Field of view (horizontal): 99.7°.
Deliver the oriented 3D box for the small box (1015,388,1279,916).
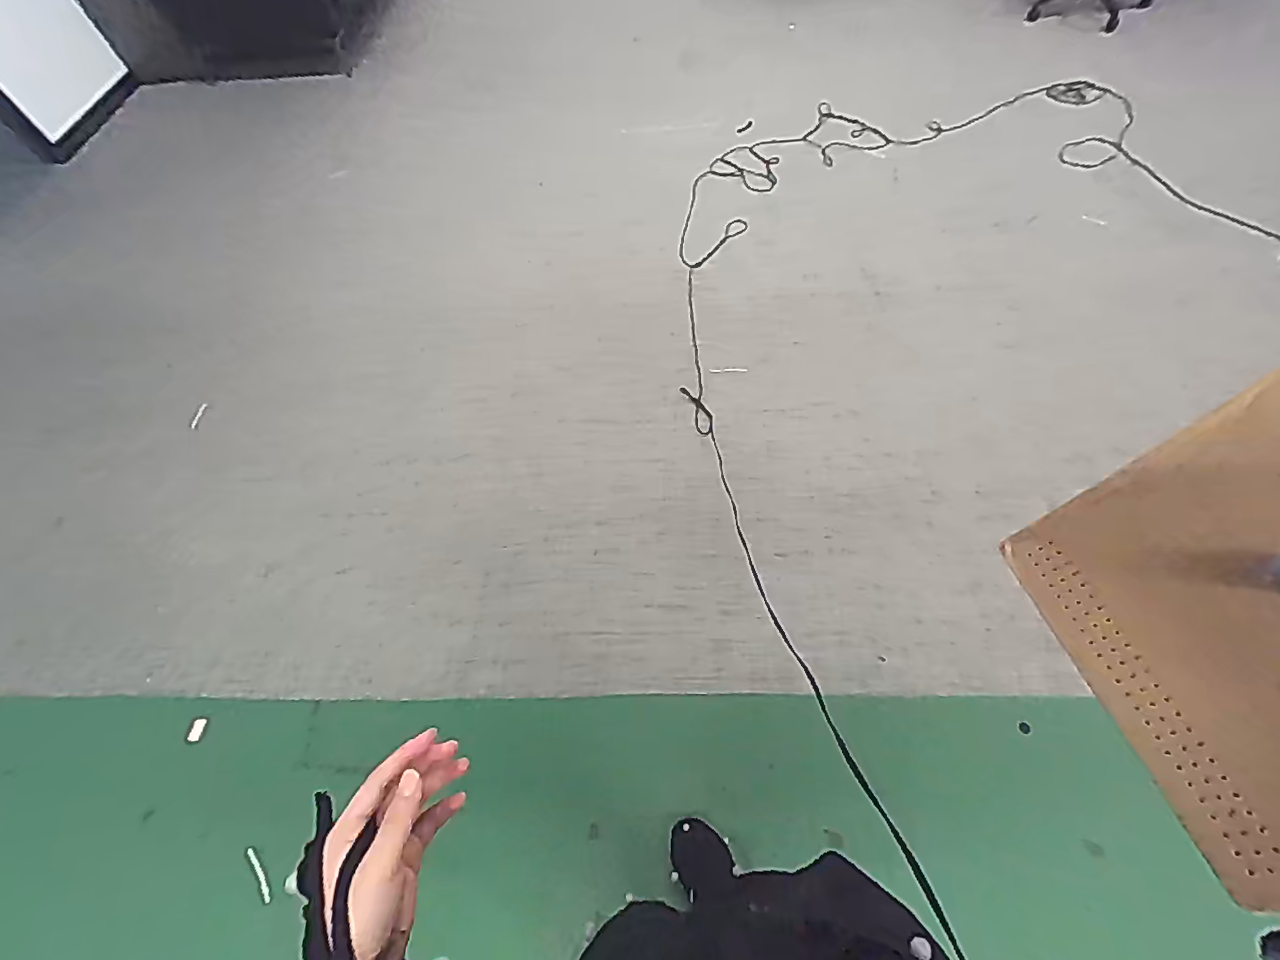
[{"bbox_3d":[0.331,0.067,0.247,0.168,0.176,0.179,1,51,-23],"label":"small box"}]
